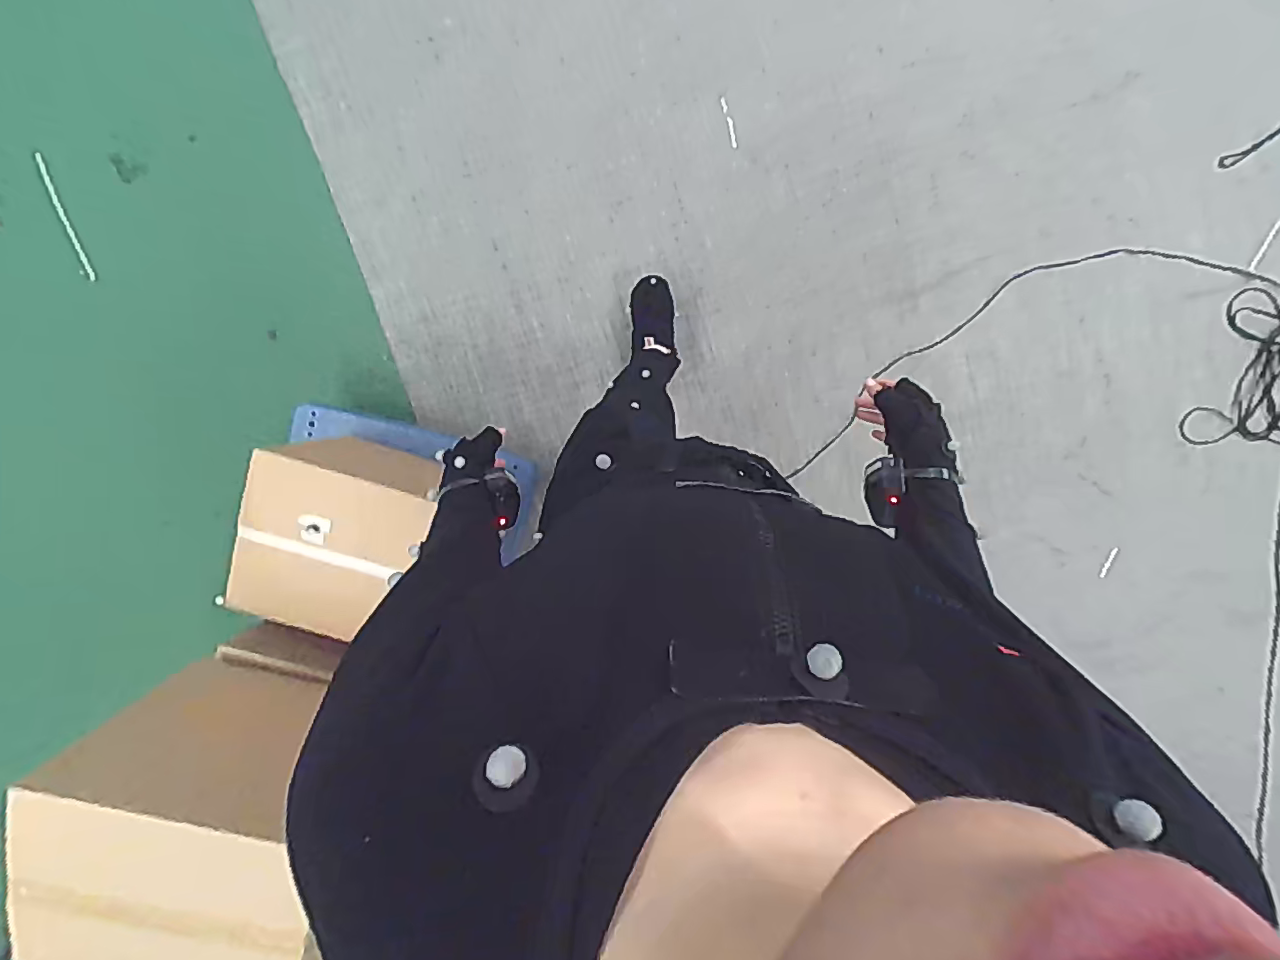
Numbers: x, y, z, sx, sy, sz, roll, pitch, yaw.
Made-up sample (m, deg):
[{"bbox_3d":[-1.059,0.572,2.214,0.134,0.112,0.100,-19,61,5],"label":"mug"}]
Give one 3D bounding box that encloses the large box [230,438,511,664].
[{"bbox_3d":[-0.531,0.125,1.136,0.408,0.320,0.320,17,99,-2],"label":"large box"}]
